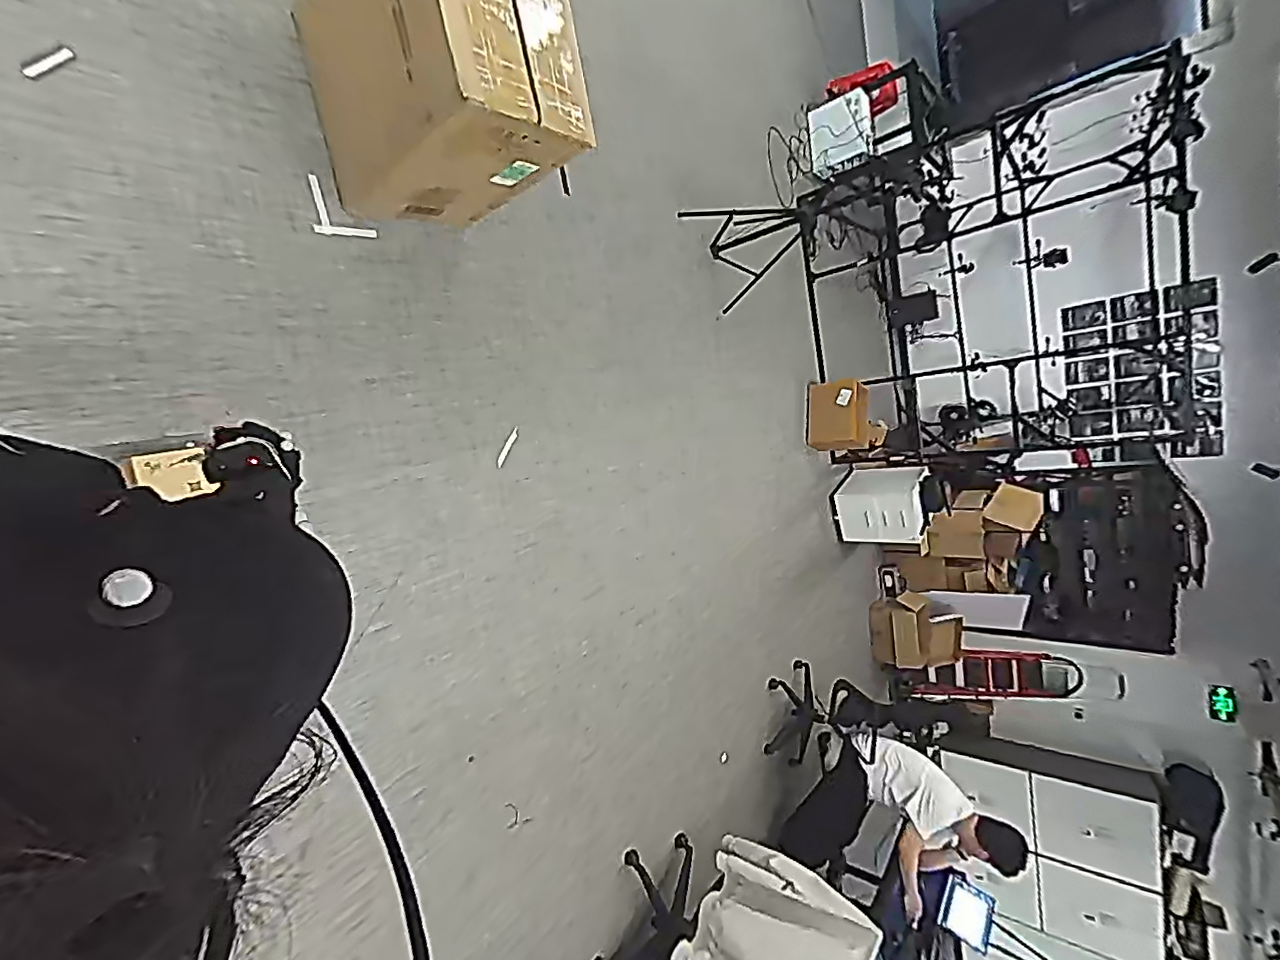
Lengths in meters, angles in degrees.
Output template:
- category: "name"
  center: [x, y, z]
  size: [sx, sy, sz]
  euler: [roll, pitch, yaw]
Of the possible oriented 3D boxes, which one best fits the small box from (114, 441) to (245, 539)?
- category: "small box"
  center: [-0.983, 0.017, 1.155]
  size: [0.168, 0.176, 0.179]
  euler: [-19, 103, -49]
